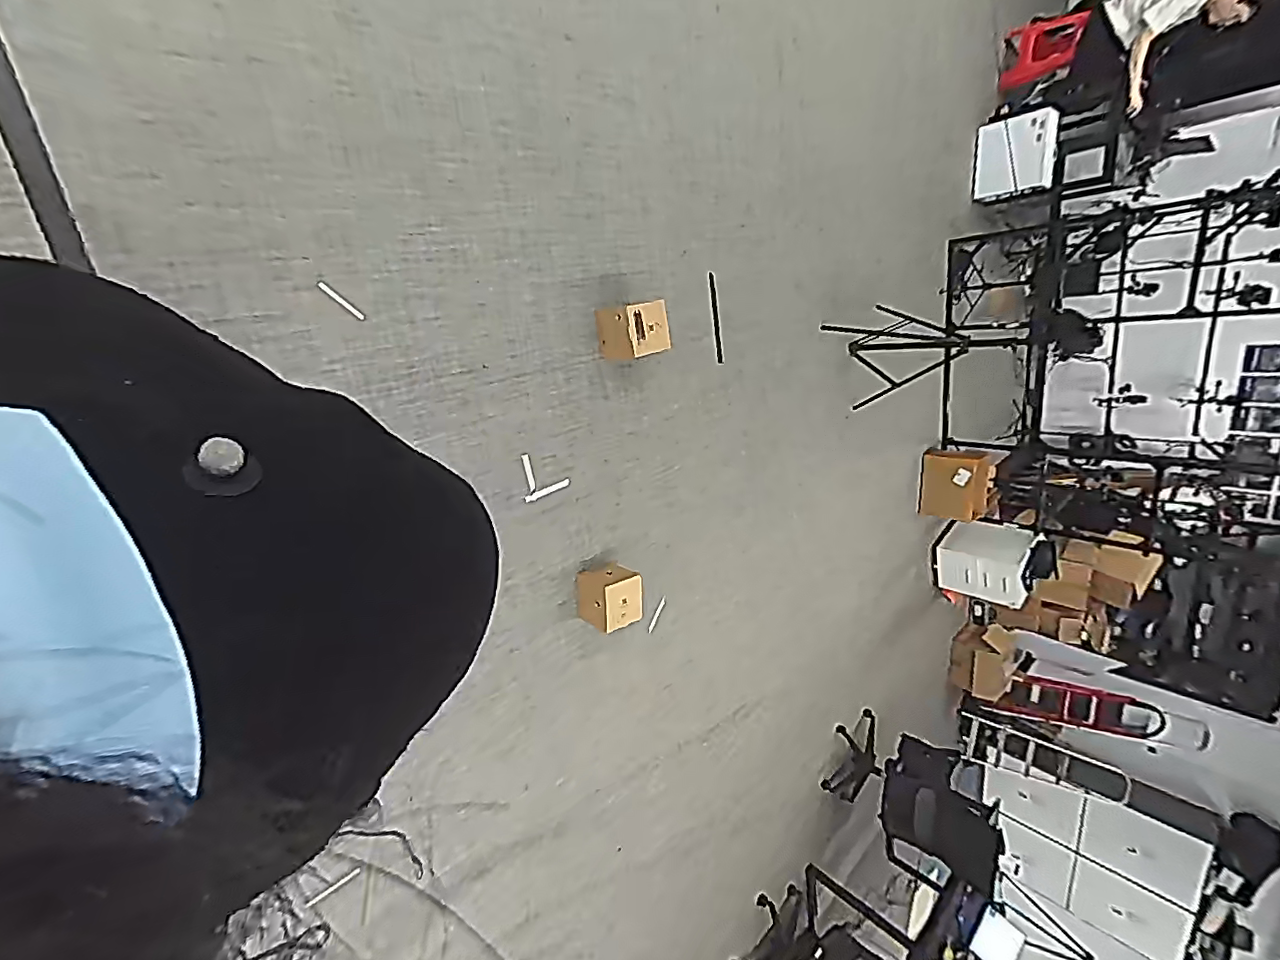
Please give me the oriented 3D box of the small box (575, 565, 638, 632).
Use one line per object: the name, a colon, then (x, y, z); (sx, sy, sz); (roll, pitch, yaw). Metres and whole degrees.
small box: (-0.123, 0.418, 1.952); (0.168, 0.176, 0.179); (-11, 106, -40)
